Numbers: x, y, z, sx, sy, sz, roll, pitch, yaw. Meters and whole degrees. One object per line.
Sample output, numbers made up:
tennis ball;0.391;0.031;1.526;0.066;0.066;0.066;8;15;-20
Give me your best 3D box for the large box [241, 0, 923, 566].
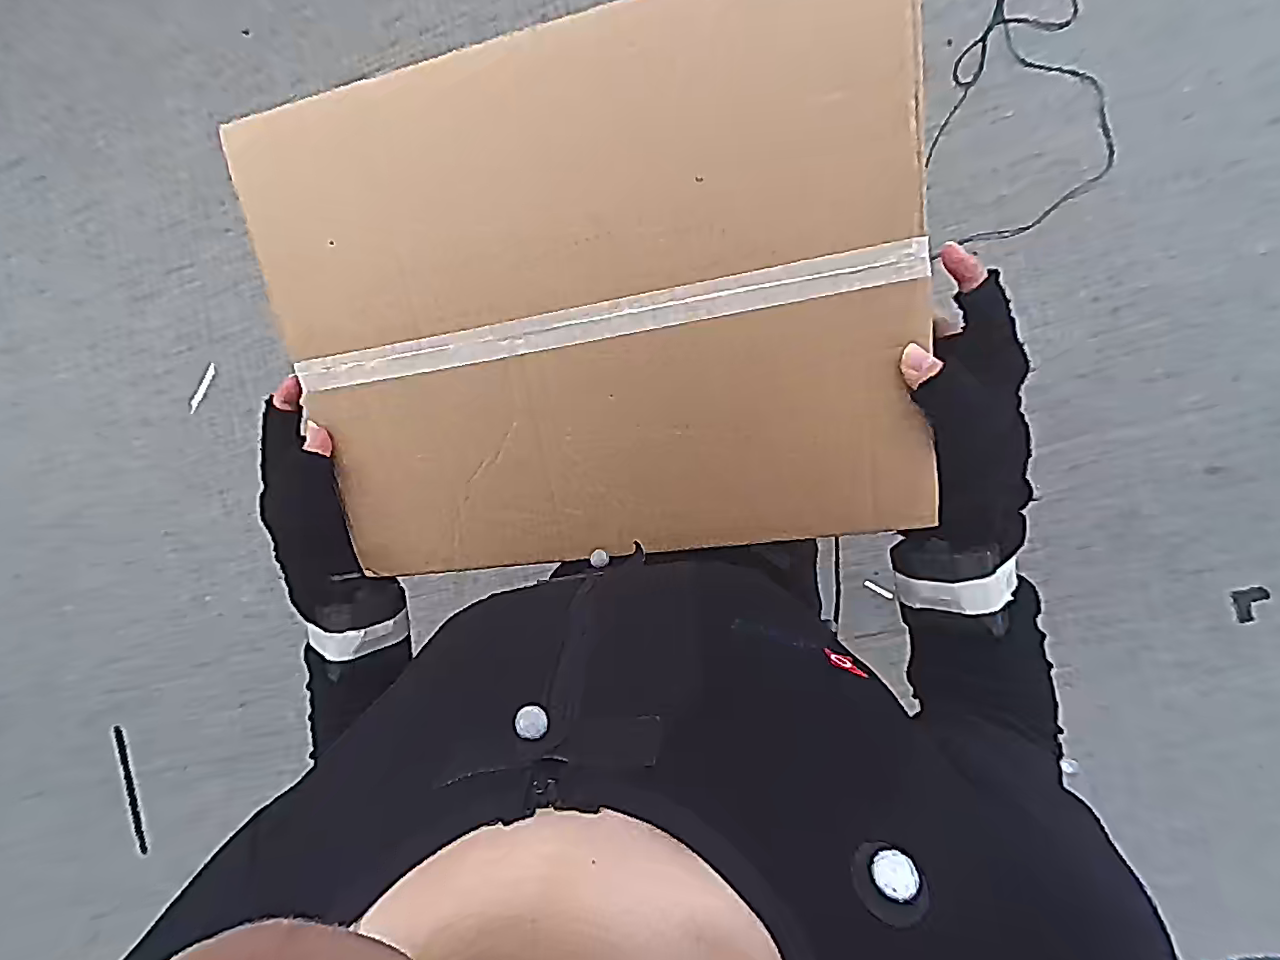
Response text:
large box;-0.014;-0.146;0.483;0.408;0.320;0.320;-7;104;13
